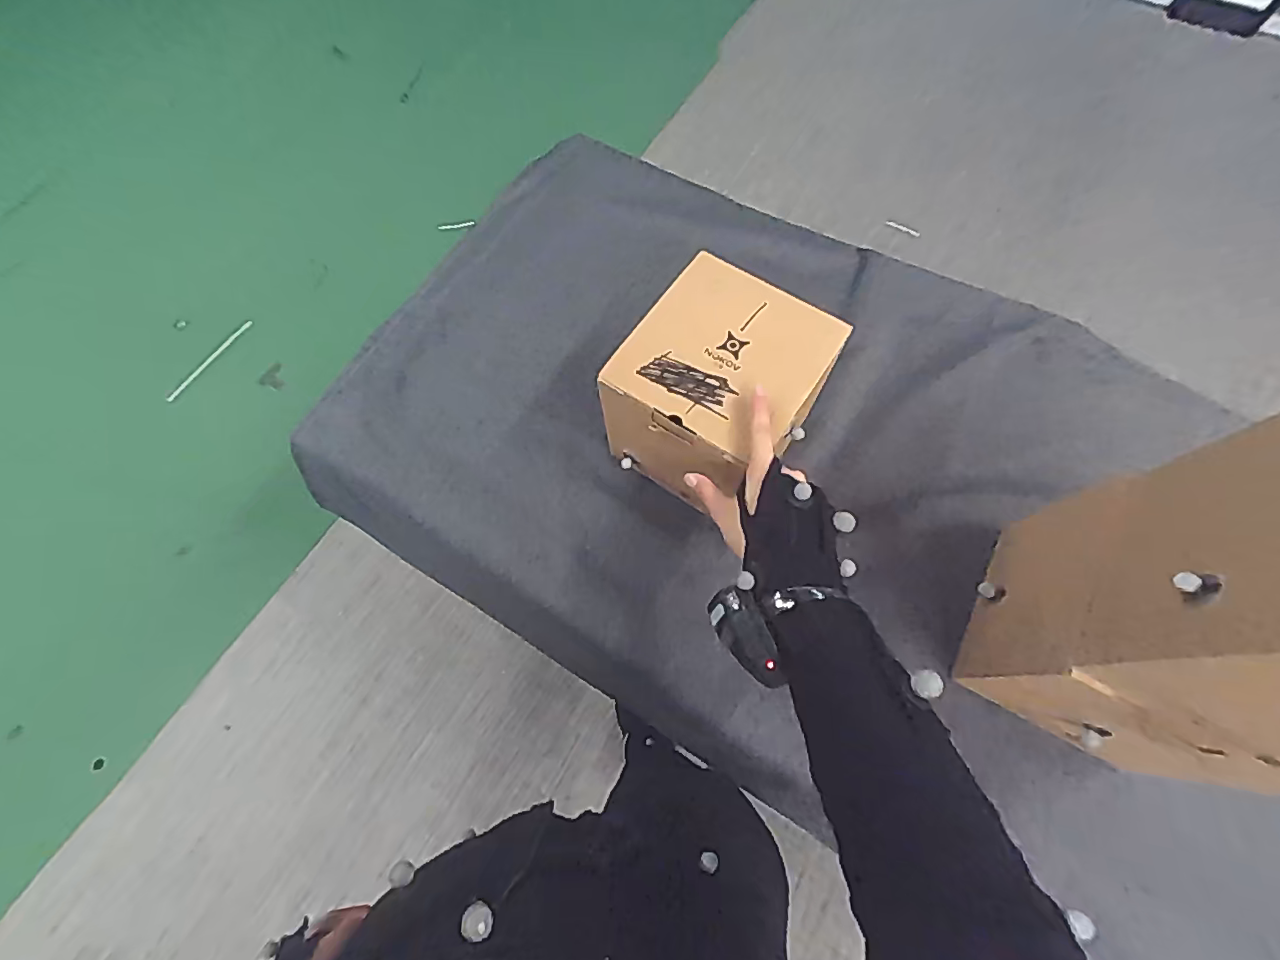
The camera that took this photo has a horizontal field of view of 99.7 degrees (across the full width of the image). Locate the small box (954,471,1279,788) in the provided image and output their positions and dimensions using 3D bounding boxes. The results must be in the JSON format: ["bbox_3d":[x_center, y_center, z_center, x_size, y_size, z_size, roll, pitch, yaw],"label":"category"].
[{"bbox_3d":[0.410,0.127,0.469,0.168,0.176,0.179,28,73,12],"label":"small box"}]

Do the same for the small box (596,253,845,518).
[{"bbox_3d":[0.077,-0.087,0.562,0.168,0.176,0.179,33,72,13],"label":"small box"}]
